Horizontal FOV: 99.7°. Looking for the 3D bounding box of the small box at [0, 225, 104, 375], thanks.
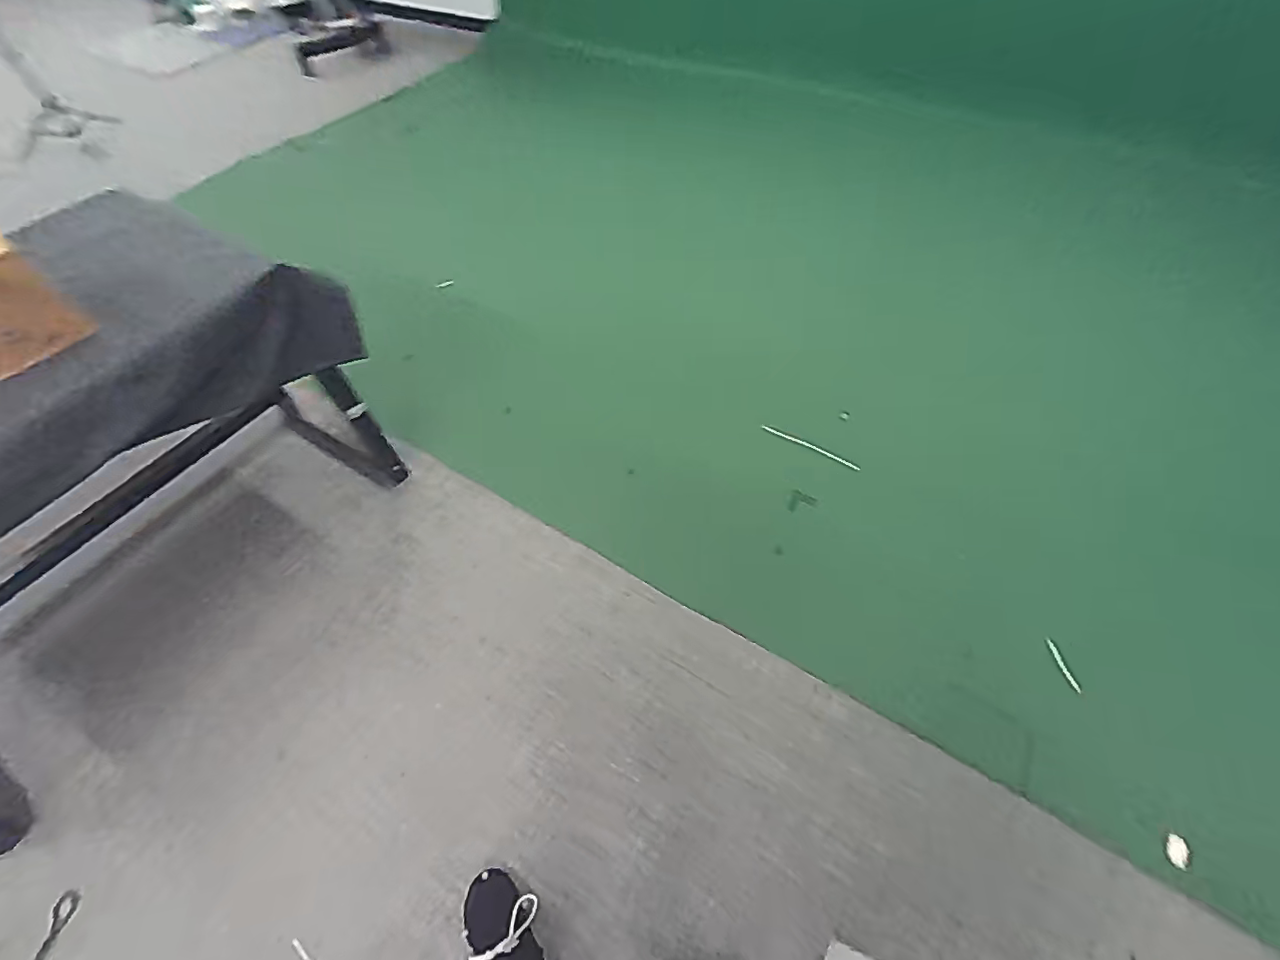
[{"bbox_3d":[-1.095,-0.309,0.924,0.179,0.176,0.168,32,62,22],"label":"small box"}]
